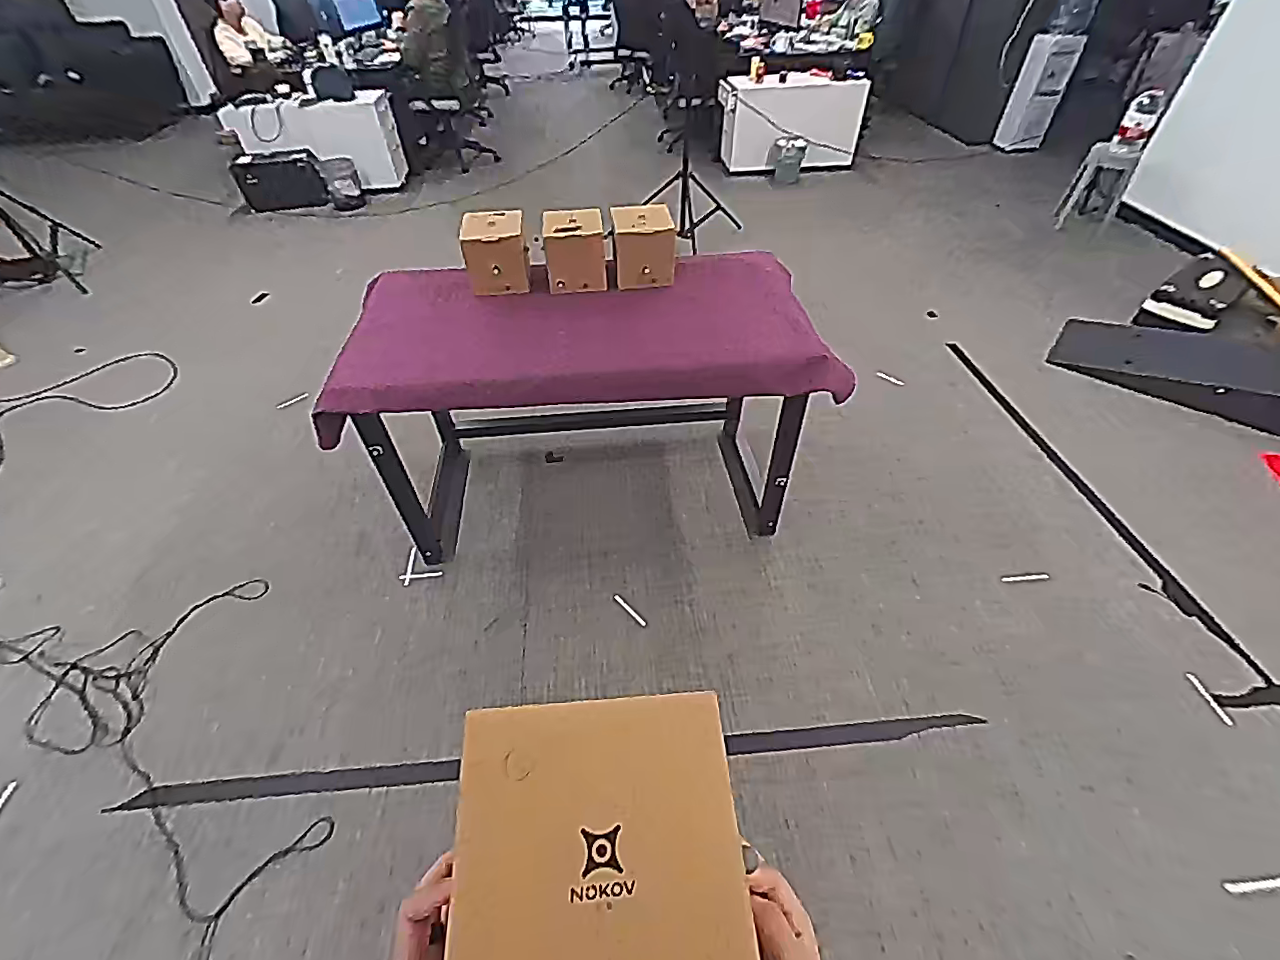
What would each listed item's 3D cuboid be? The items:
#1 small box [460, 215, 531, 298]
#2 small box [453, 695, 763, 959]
[{"bbox_3d":[-0.410,-0.642,1.568,0.168,0.176,0.179,-6,49,-5],"label":"small box"},{"bbox_3d":[-0.027,0.265,0.372,0.168,0.176,0.179,-3,56,-8],"label":"small box"}]
